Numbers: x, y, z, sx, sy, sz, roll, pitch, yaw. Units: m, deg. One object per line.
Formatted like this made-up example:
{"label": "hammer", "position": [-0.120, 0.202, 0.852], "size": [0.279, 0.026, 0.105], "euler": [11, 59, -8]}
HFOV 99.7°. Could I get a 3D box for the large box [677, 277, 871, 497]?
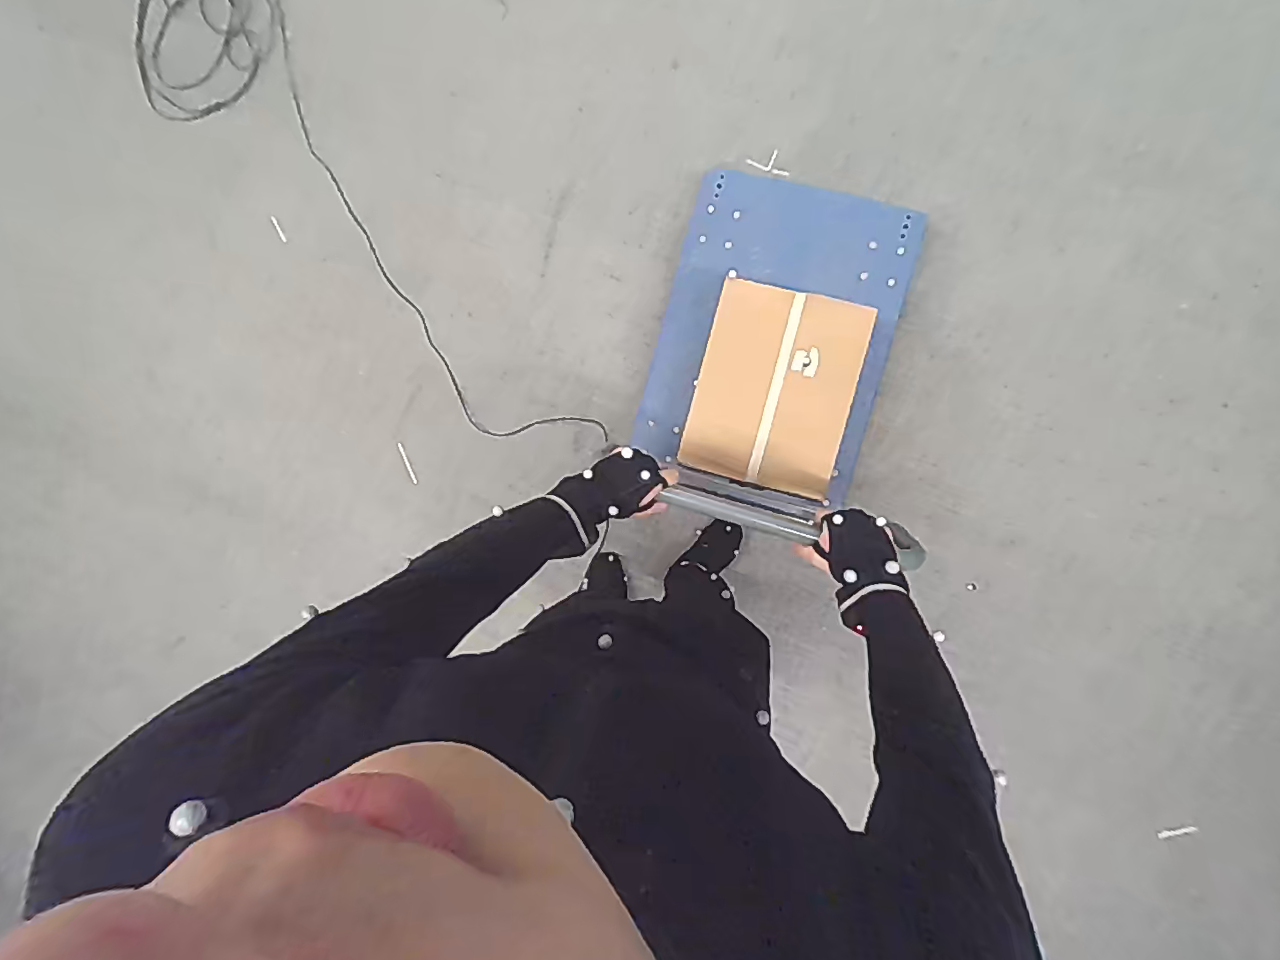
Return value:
{"label": "large box", "position": [0.290, -0.192, 1.256], "size": [0.320, 0.320, 0.408], "euler": [16, 92, 6]}
